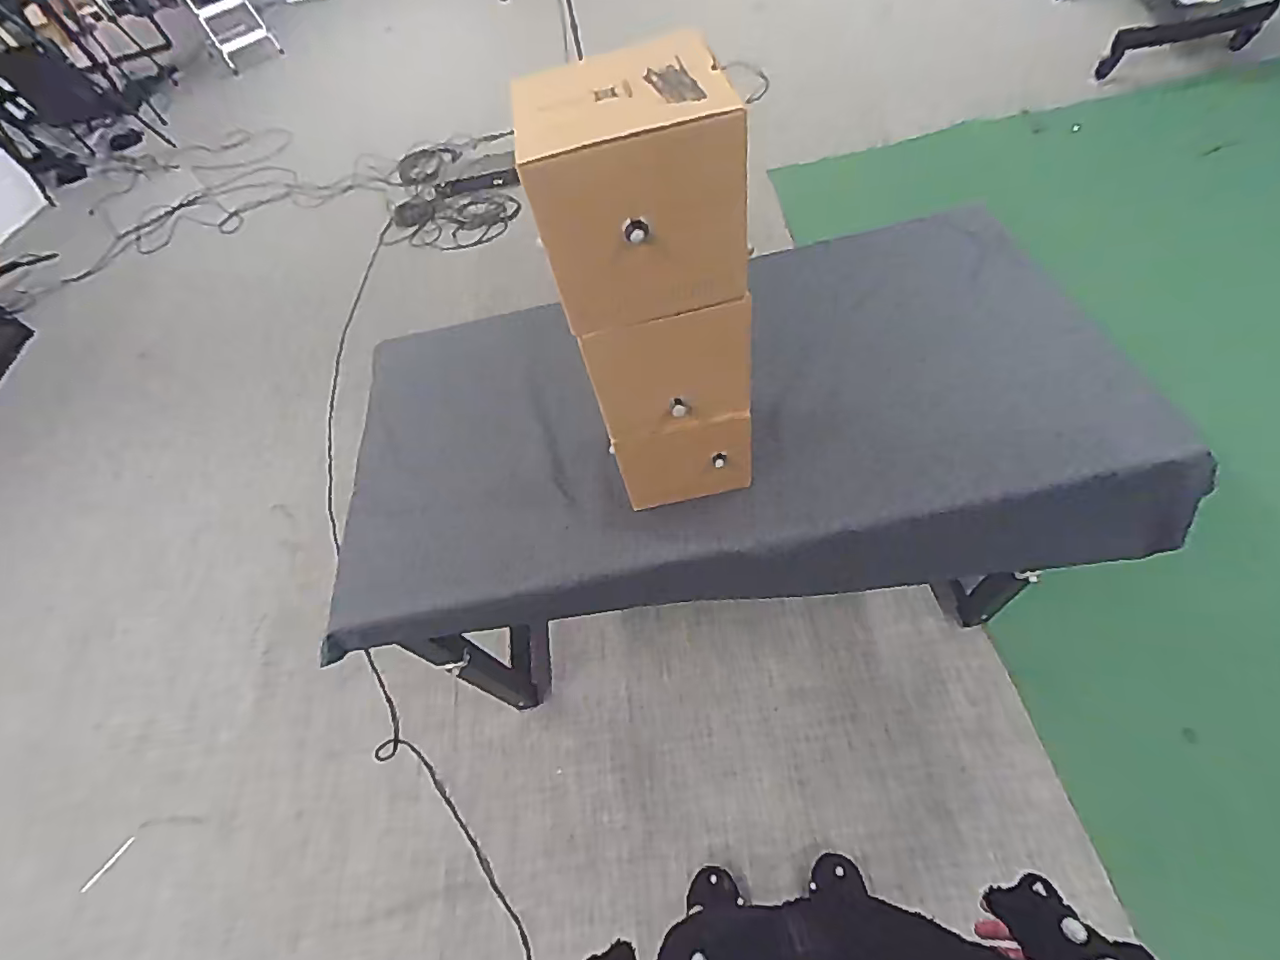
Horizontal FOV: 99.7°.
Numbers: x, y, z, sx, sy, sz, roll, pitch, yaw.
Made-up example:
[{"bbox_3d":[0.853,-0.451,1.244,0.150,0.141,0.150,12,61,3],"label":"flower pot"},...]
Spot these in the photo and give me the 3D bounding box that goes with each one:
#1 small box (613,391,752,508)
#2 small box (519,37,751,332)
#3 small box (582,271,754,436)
[{"bbox_3d":[0.055,-0.082,0.774,0.179,0.176,0.168,-13,54,3],"label":"small box"},{"bbox_3d":[-0.002,-0.269,0.510,0.179,0.176,0.168,-13,55,3],"label":"small box"},{"bbox_3d":[0.027,-0.176,0.643,0.179,0.176,0.168,-12,54,2],"label":"small box"}]
